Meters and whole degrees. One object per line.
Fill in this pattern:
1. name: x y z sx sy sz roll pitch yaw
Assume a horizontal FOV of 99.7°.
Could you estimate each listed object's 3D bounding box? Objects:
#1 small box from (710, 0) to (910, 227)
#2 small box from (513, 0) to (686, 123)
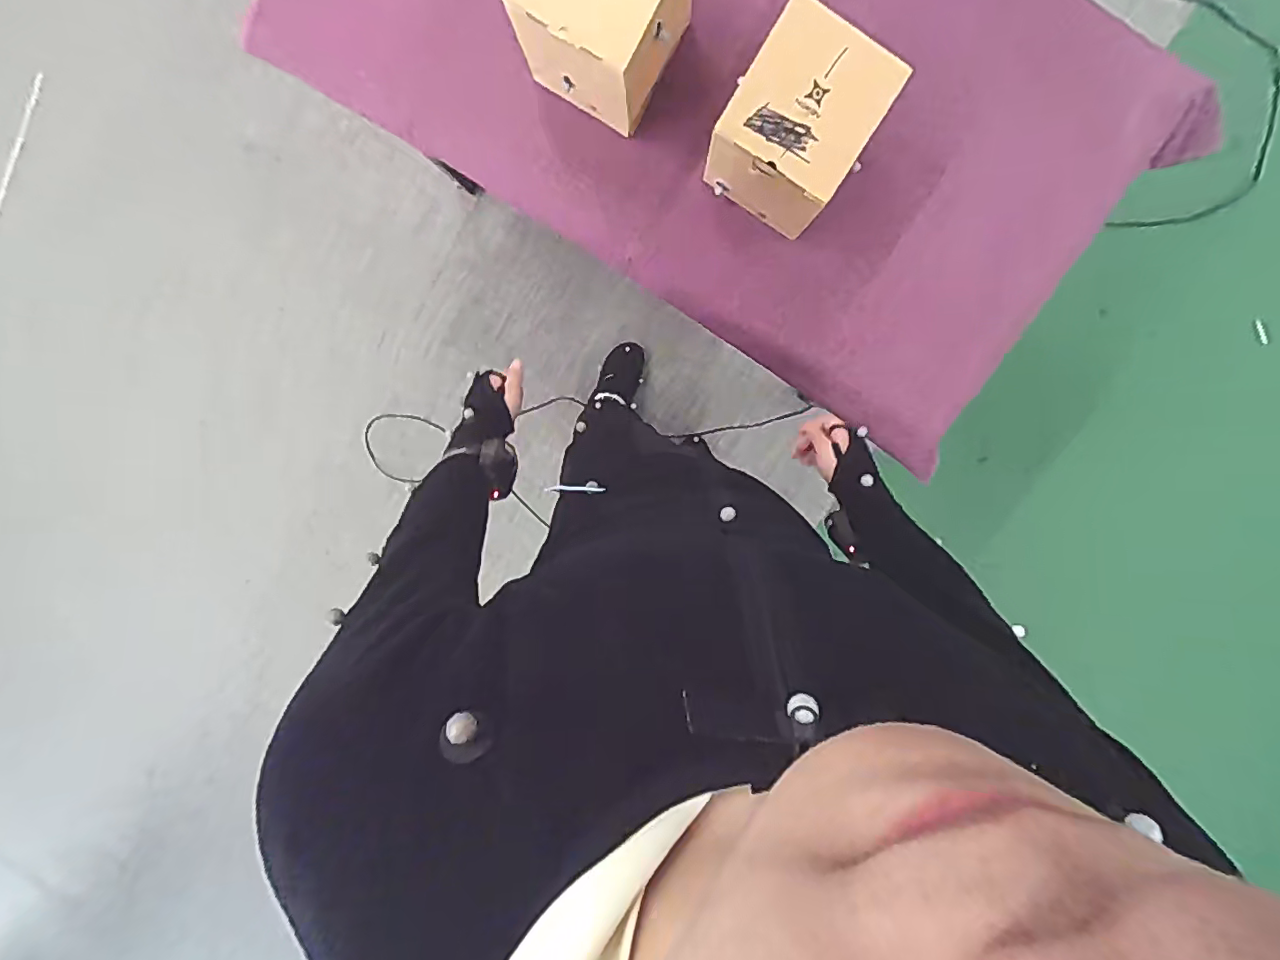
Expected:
1. small box: 0.205 -0.467 0.710 0.168 0.176 0.179 31 102 -3
2. small box: -0.045 -0.613 0.691 0.168 0.176 0.179 30 101 -4
